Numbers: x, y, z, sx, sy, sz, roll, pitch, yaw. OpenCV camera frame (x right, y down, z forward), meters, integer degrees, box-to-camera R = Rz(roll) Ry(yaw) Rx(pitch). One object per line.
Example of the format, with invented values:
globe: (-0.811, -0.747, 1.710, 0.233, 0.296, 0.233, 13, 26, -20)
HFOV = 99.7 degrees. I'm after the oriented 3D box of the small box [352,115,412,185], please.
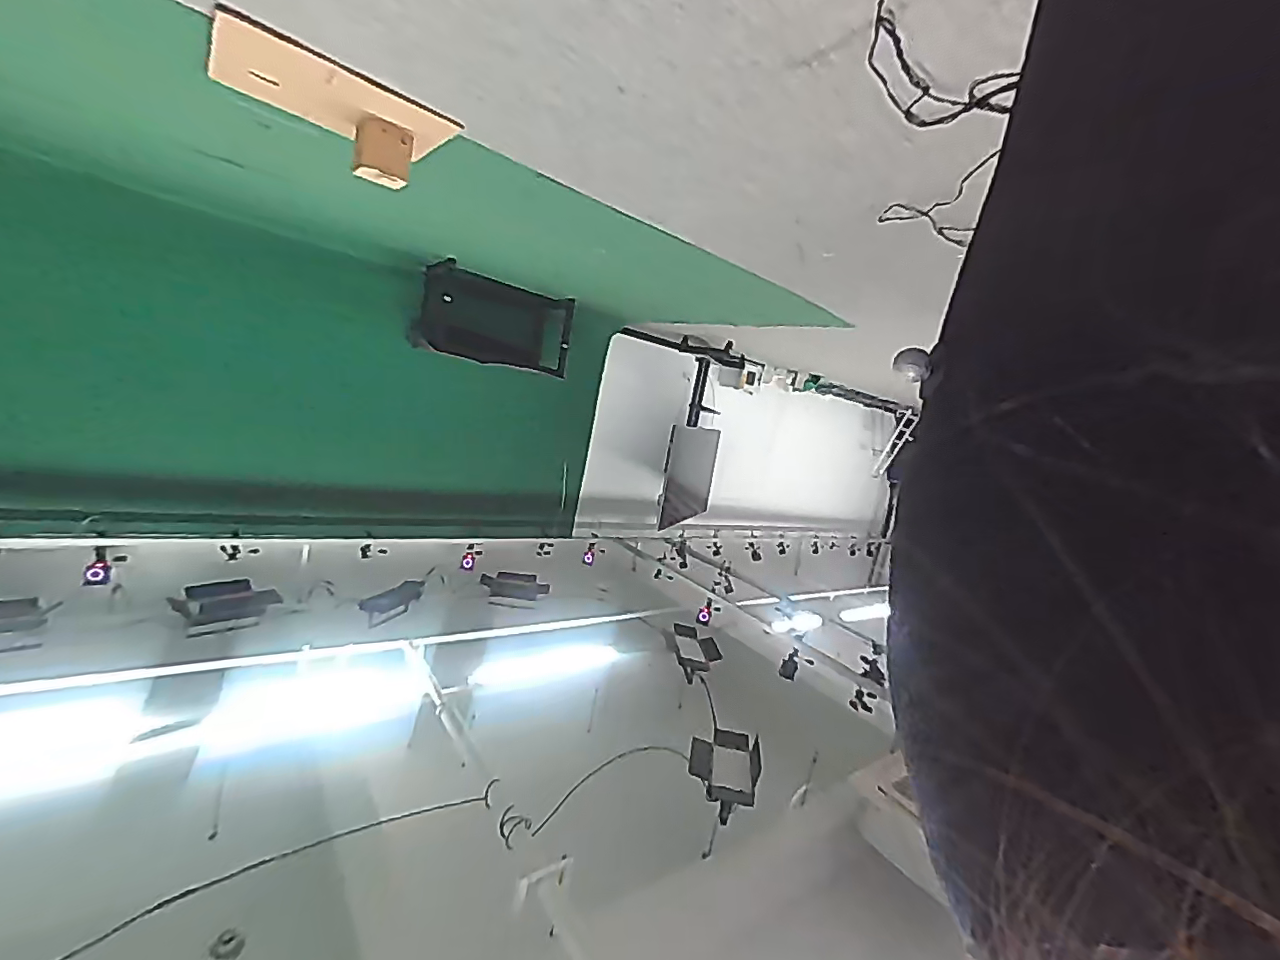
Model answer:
small box: (-0.988, -1.264, 2.074, 0.168, 0.176, 0.179, 3, -167, -42)
